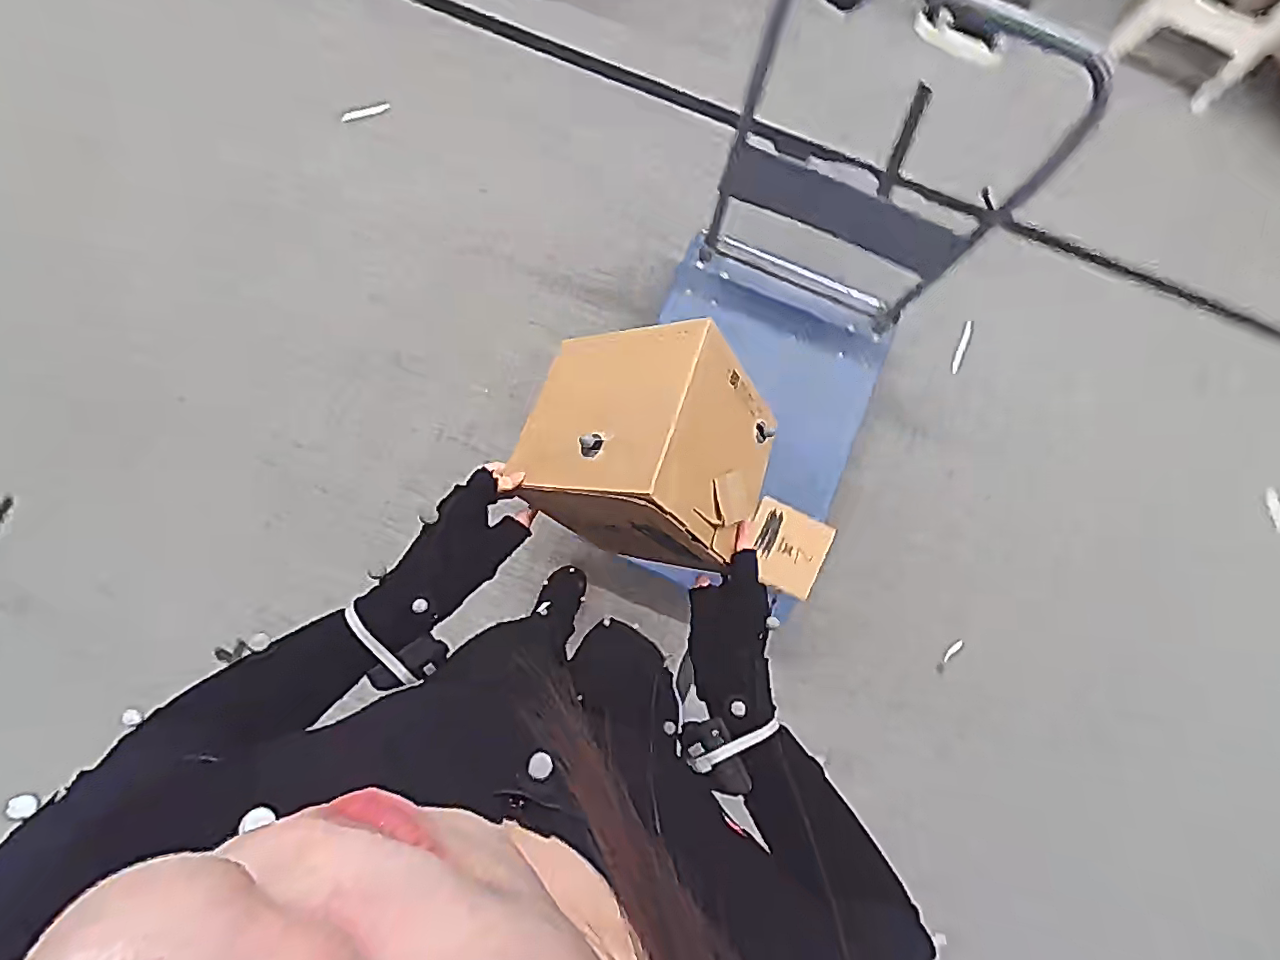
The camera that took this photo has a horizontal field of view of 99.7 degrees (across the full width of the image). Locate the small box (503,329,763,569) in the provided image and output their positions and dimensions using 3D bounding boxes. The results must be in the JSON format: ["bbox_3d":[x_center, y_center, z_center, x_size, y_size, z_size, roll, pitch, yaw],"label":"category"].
[{"bbox_3d":[0.006,-0.028,0.525,0.179,0.168,0.176,4,66,38],"label":"small box"}]
